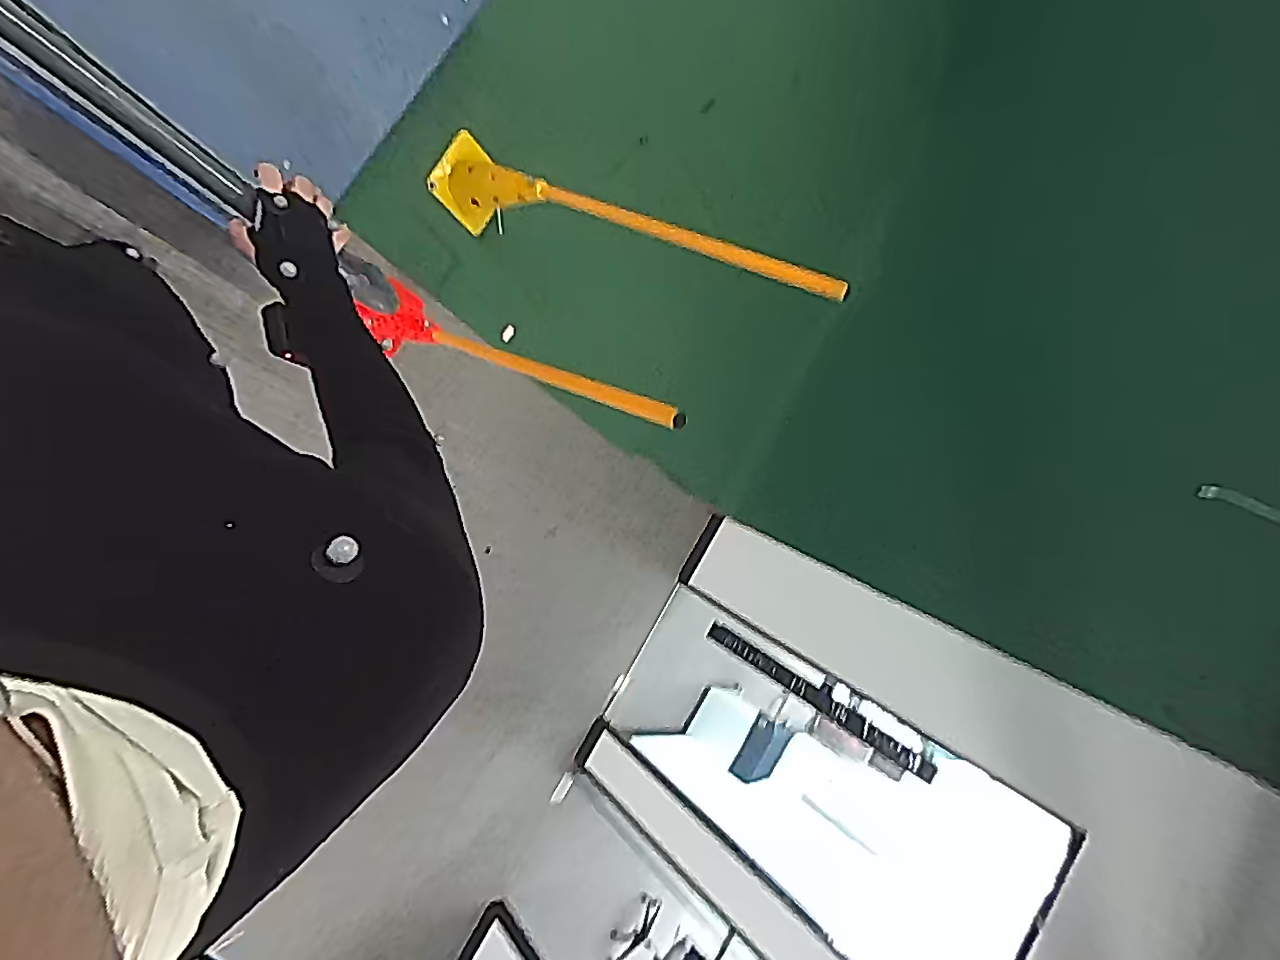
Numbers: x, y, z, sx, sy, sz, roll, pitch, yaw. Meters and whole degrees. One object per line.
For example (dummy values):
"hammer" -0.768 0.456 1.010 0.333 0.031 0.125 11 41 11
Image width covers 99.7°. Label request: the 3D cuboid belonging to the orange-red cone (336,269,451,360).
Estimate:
"orange-red cone" -0.600 -0.403 1.413 0.199 0.360 0.198 -60 143 -6
